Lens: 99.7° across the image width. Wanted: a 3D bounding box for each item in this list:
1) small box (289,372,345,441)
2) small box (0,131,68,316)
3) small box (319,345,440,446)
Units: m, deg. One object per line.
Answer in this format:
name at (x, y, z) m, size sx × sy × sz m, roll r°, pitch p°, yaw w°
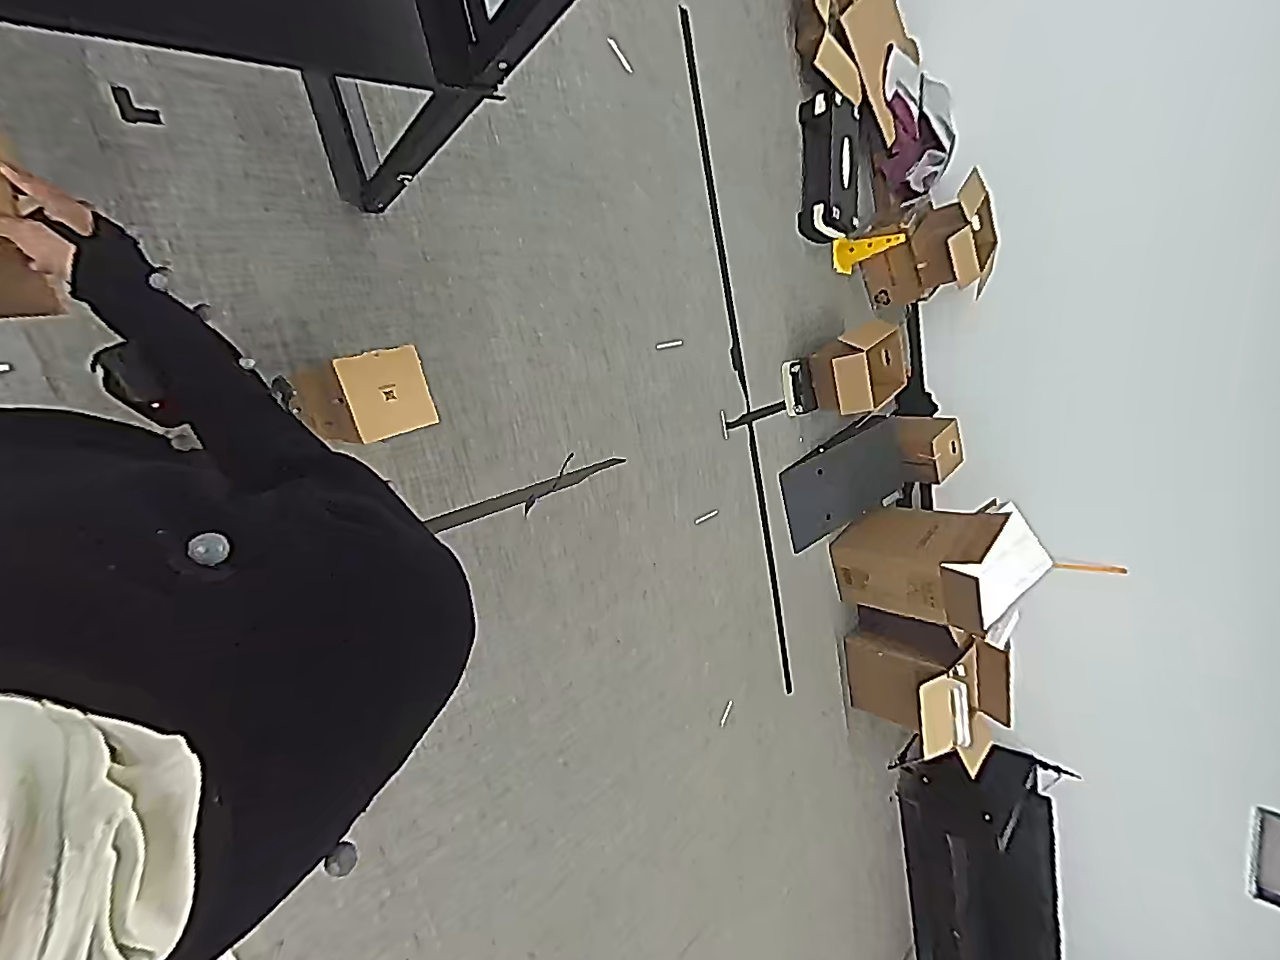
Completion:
small box at (-0.784, -0.204, 1.416) m, size 0.179 × 0.176 × 0.168 m, roll -24°, pitch 108°, yaw -37°
small box at (-0.665, -0.252, 0.483) m, size 0.168 × 0.176 × 0.179 m, roll -20°, pitch 95°, yaw -39°
small box at (-0.566, -0.182, 1.173) m, size 0.168 × 0.176 × 0.179 m, roll -26°, pitch 110°, yaw -37°
